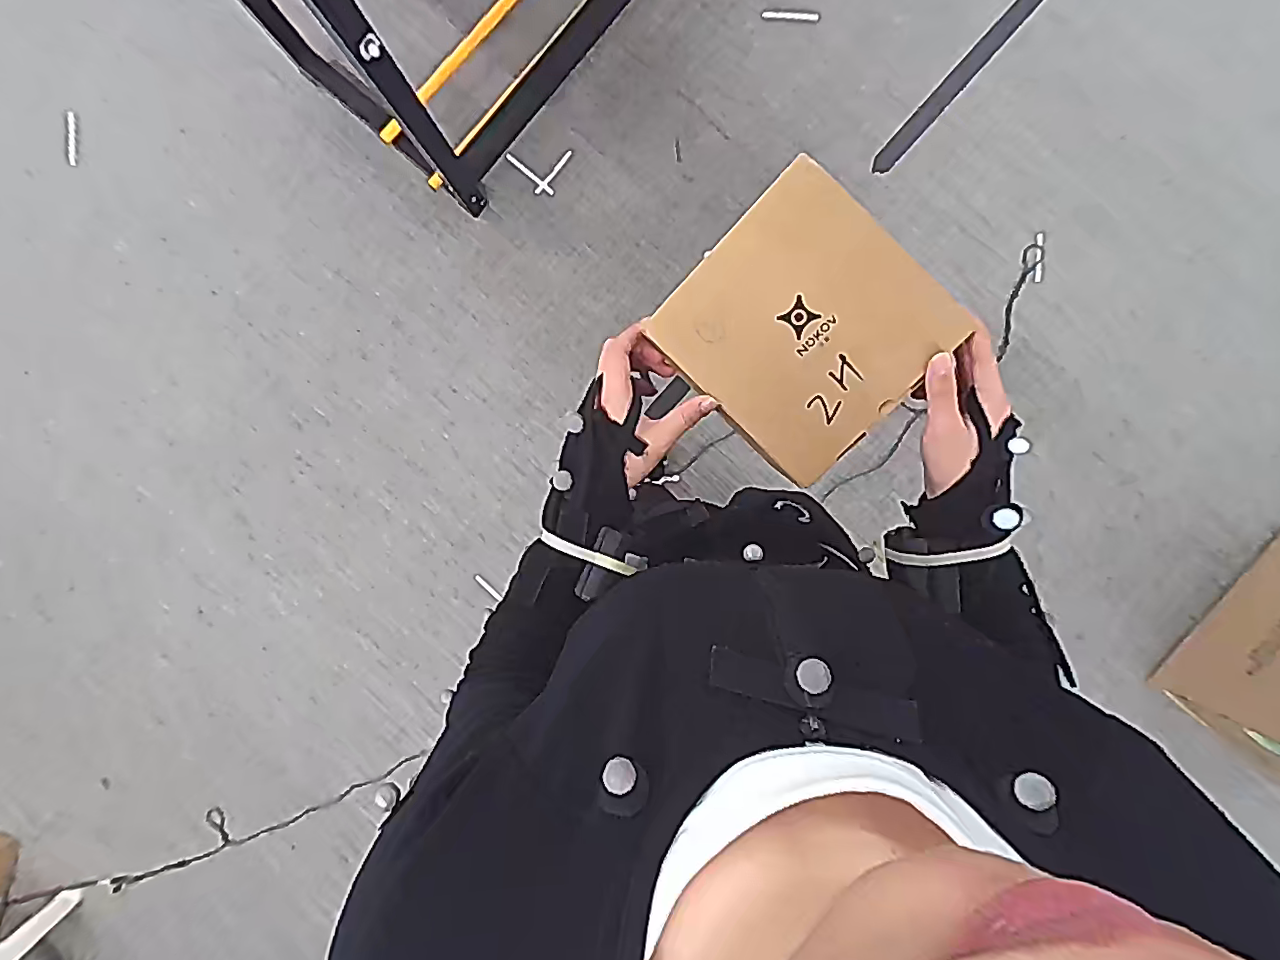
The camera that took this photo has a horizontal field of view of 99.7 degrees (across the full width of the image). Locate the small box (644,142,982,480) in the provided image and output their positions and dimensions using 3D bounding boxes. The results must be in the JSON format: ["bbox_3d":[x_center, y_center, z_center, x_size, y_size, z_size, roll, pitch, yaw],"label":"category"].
[{"bbox_3d":[0.125,-0.124,0.456,0.179,0.176,0.168,44,100,-2],"label":"small box"}]
